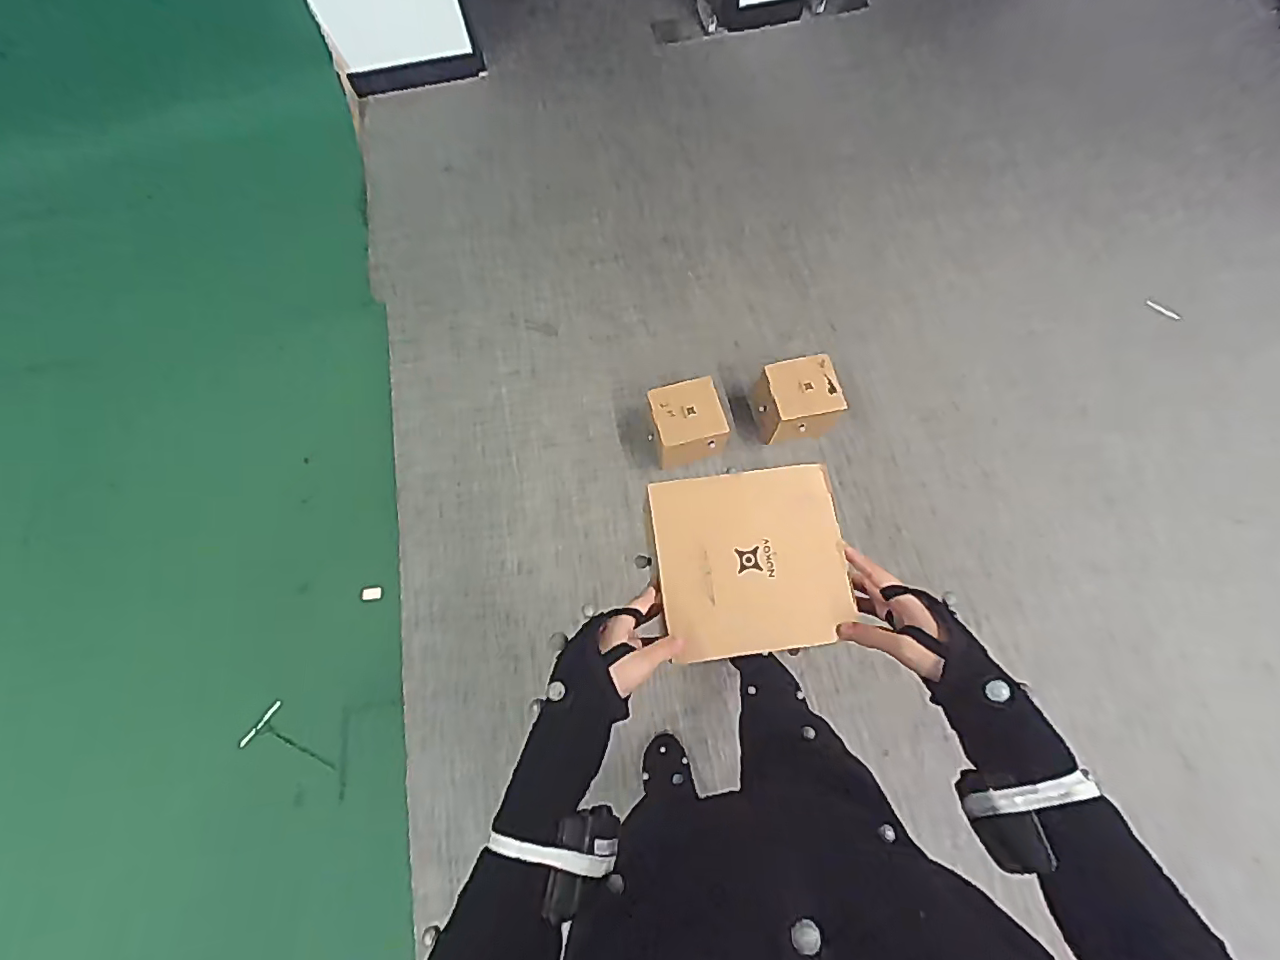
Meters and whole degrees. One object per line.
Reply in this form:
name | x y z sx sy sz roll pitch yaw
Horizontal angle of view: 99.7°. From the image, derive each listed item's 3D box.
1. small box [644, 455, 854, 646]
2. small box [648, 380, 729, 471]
small box | 0.101 0.080 0.587 0.179 0.176 0.168 -7 77 -2
small box | 0.123 -0.142 1.453 0.179 0.176 0.168 -15 71 -2
